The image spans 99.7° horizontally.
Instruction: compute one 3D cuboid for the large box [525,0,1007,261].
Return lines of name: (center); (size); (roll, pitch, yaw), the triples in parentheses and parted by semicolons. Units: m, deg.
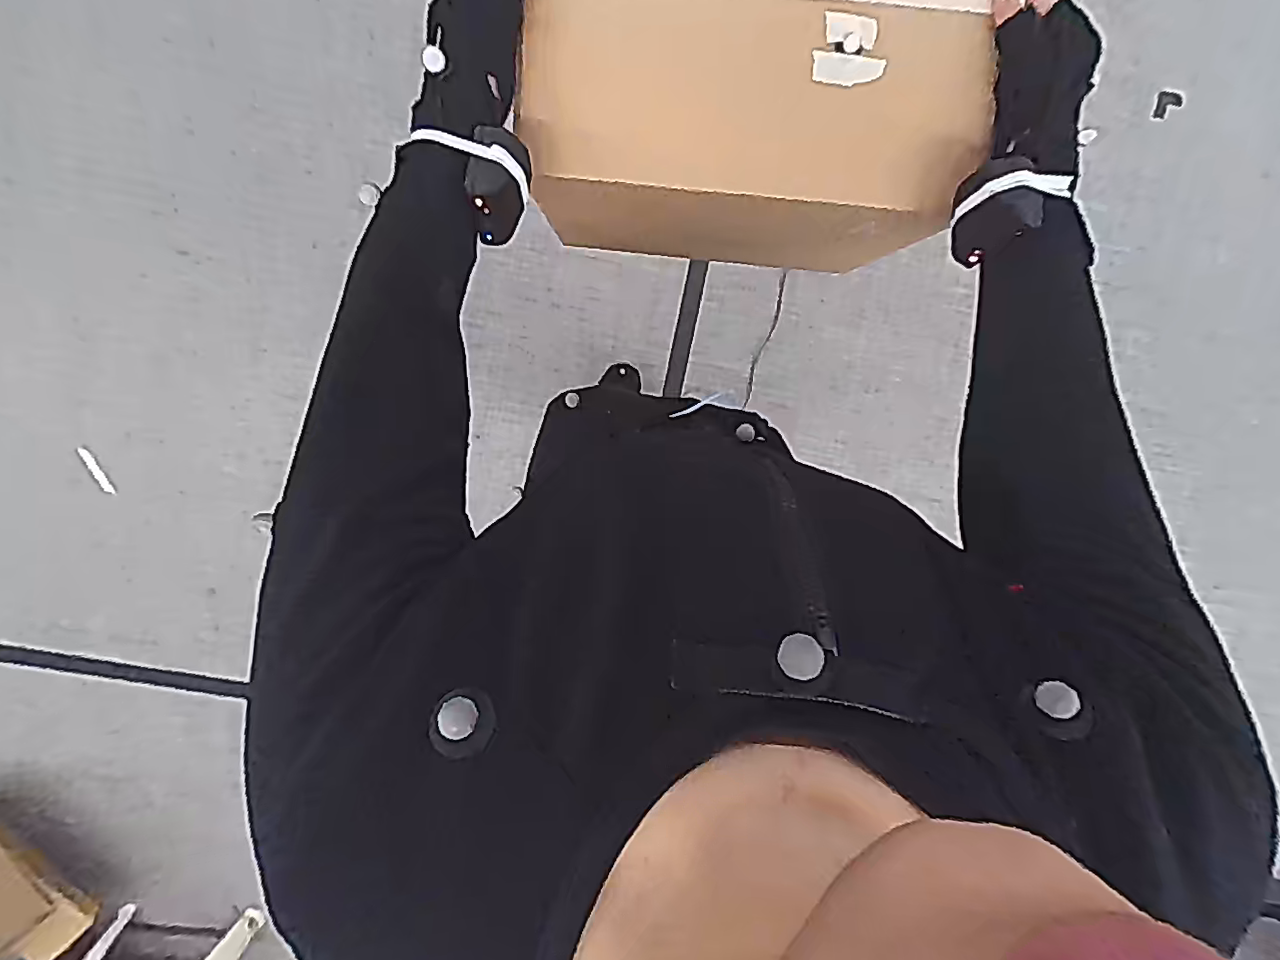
large box: (0.103, -0.440, 0.588); (0.408, 0.320, 0.320); (5, 103, -2)
